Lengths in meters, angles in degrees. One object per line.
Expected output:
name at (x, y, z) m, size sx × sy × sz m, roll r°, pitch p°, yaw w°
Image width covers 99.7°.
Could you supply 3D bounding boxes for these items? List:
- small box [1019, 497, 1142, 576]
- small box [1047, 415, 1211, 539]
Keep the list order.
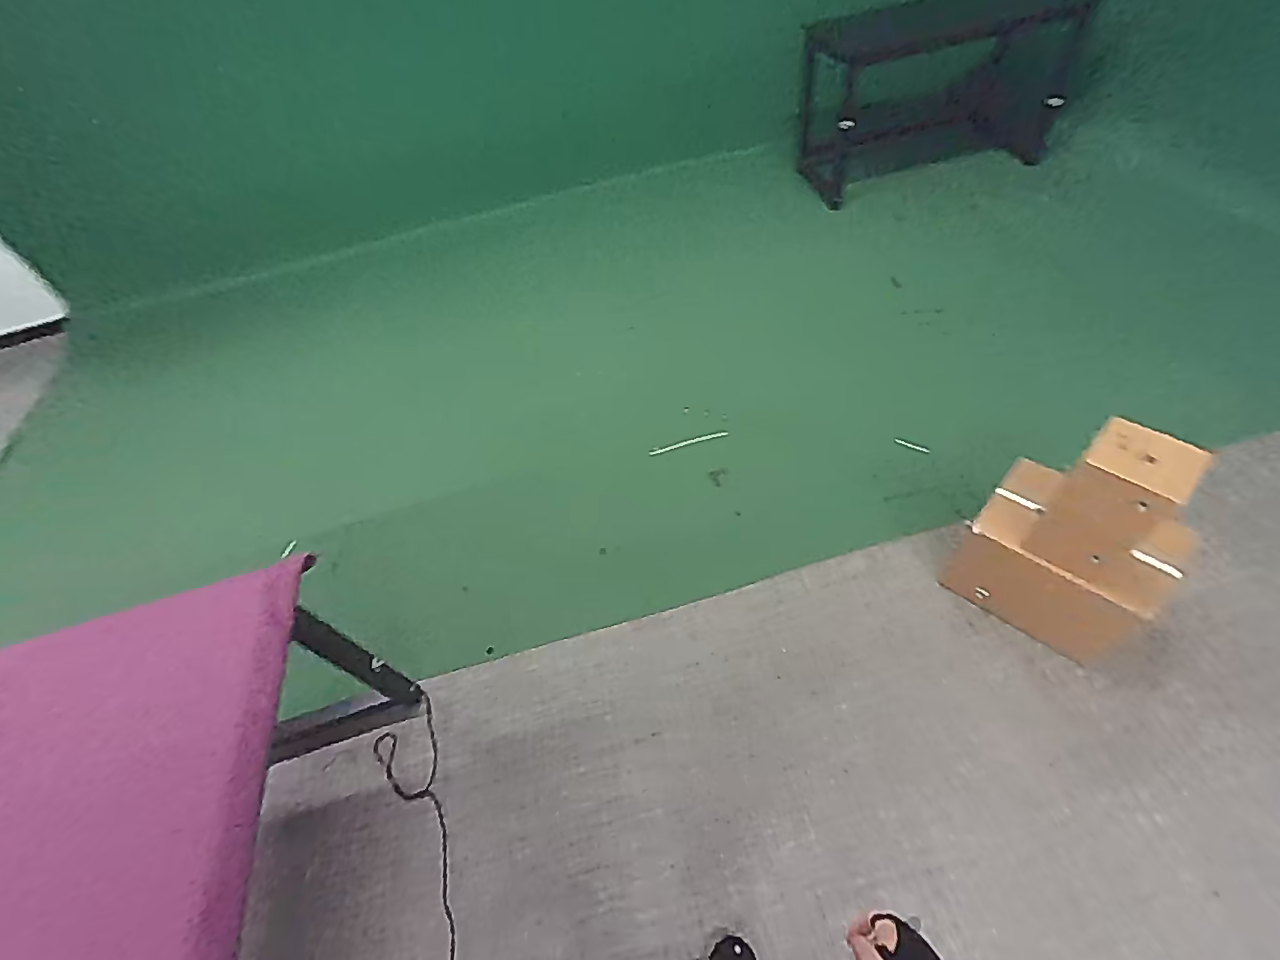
small box at (1.046, 0.101, 1.272) m, size 0.179 × 0.176 × 0.168 m, roll 34°, pitch 65°, yaw 31°
small box at (1.022, 0.001, 1.144) m, size 0.168 × 0.176 × 0.179 m, roll -40°, pitch 56°, yaw -21°
